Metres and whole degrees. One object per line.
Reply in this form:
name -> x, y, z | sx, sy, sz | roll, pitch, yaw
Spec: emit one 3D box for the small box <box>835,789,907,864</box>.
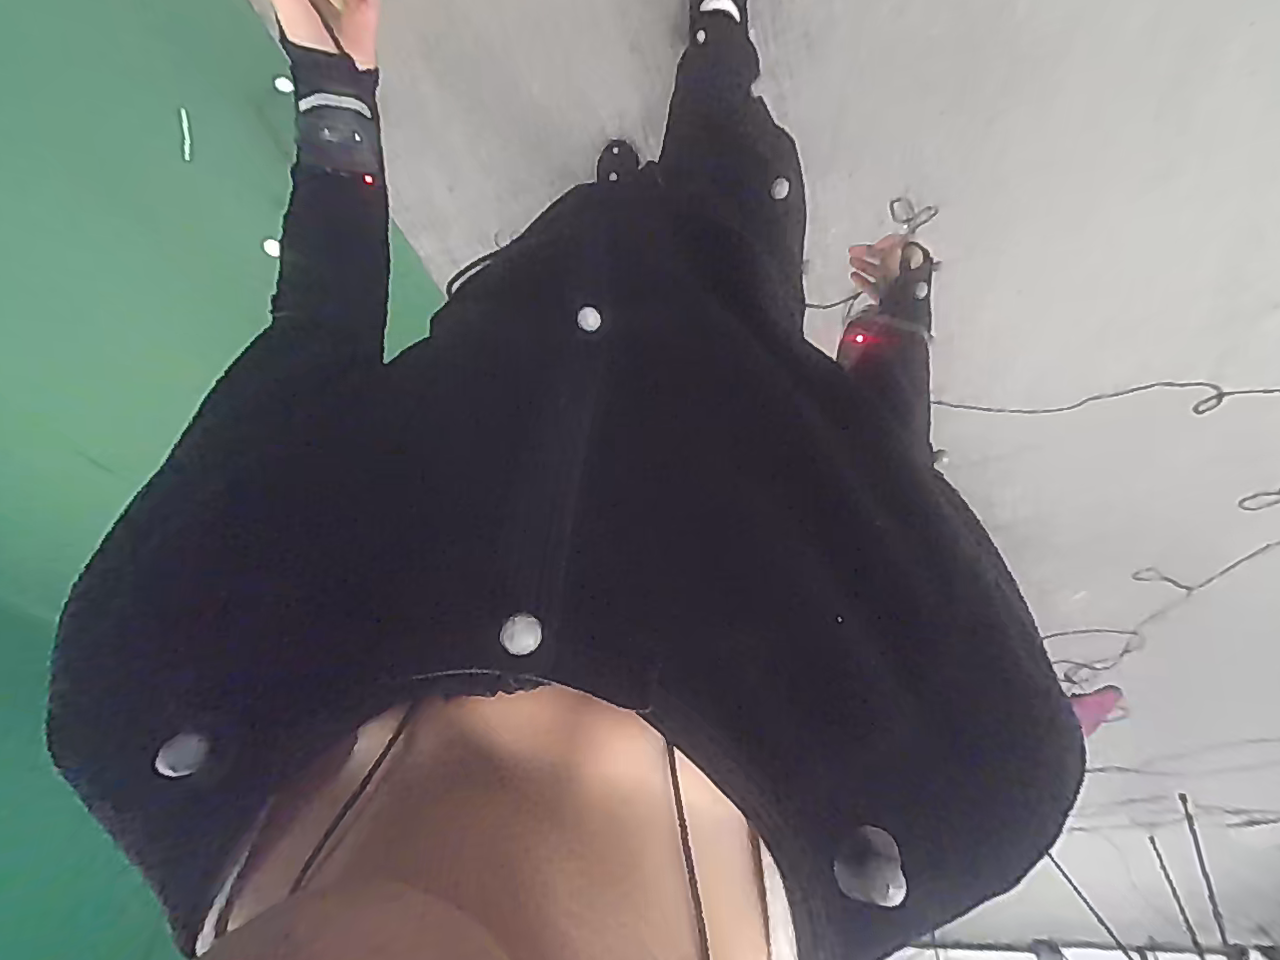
small box -> 0.752, 1.130, 1.766 | 0.179, 0.176, 0.168 | -14, 129, 17
